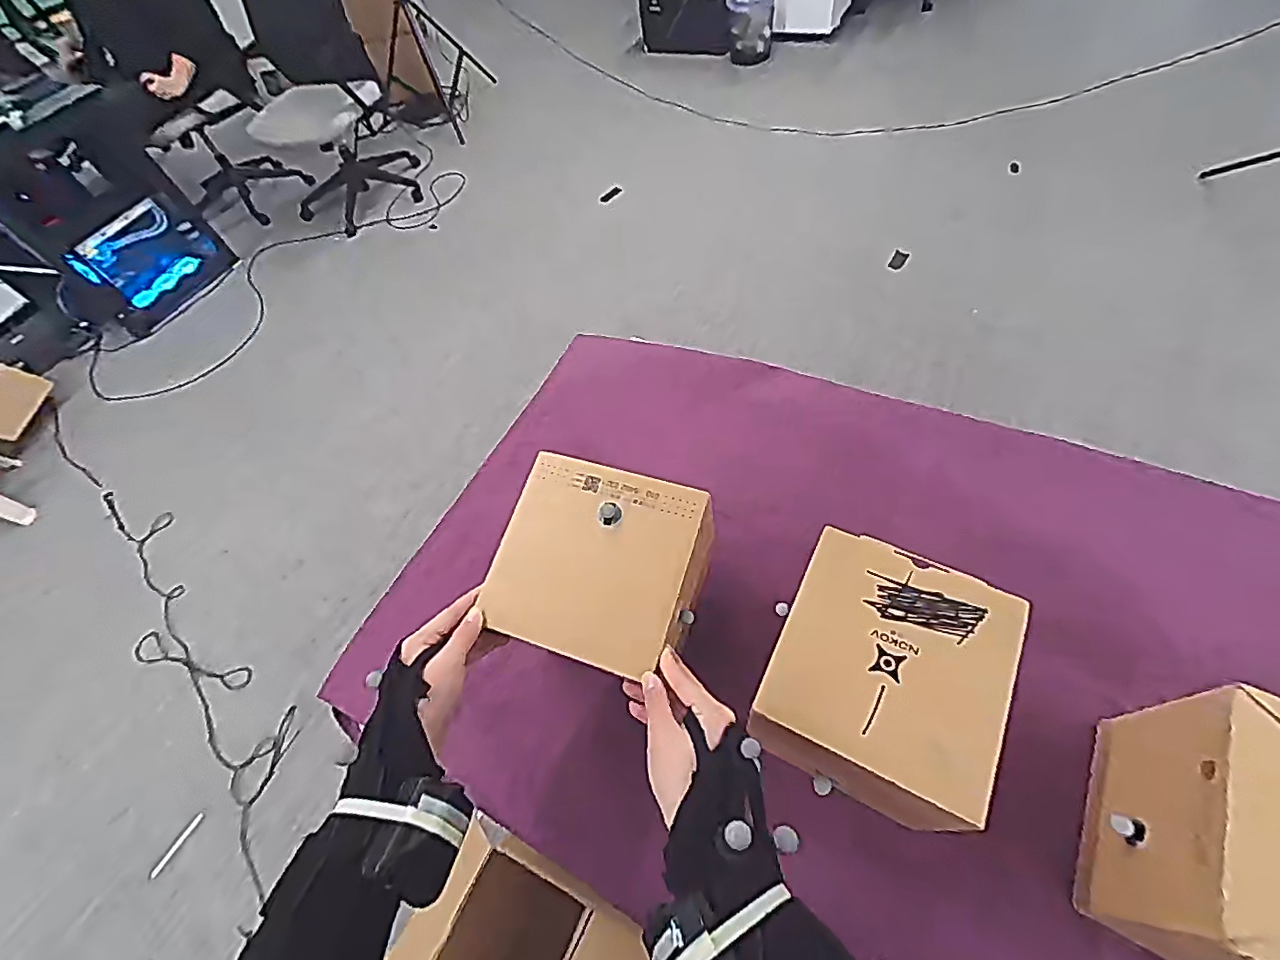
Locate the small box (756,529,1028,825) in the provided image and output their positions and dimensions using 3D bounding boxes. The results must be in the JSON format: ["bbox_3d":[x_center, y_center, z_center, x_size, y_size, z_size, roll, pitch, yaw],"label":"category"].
[{"bbox_3d":[0.212,0.180,0.494,0.168,0.176,0.179,22,64,21],"label":"small box"}]
